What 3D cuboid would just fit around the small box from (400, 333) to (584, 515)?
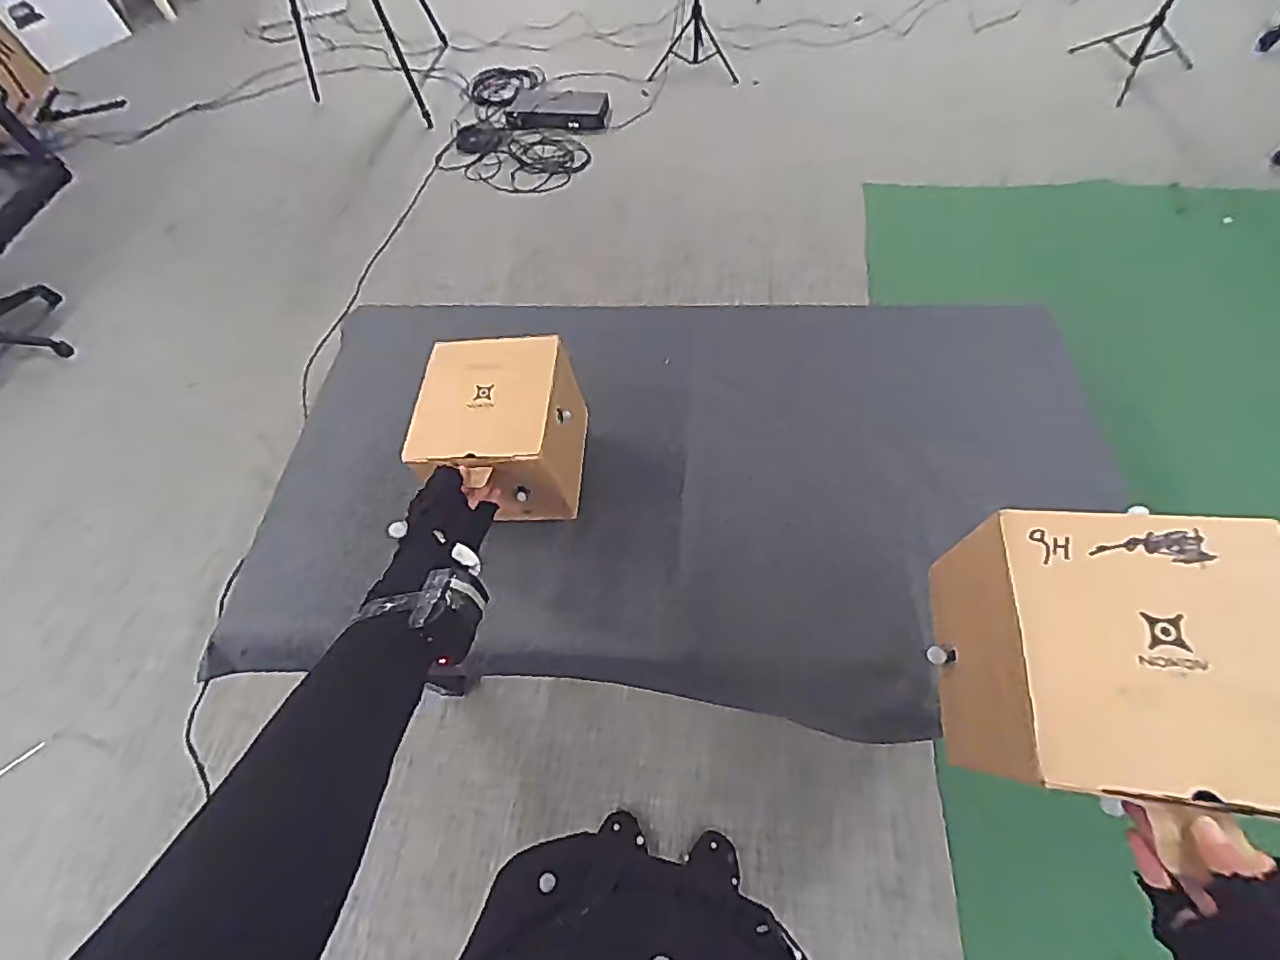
[{"bbox_3d":[-0.174,-0.062,0.698,0.168,0.176,0.179,-1,62,7],"label":"small box"}]
